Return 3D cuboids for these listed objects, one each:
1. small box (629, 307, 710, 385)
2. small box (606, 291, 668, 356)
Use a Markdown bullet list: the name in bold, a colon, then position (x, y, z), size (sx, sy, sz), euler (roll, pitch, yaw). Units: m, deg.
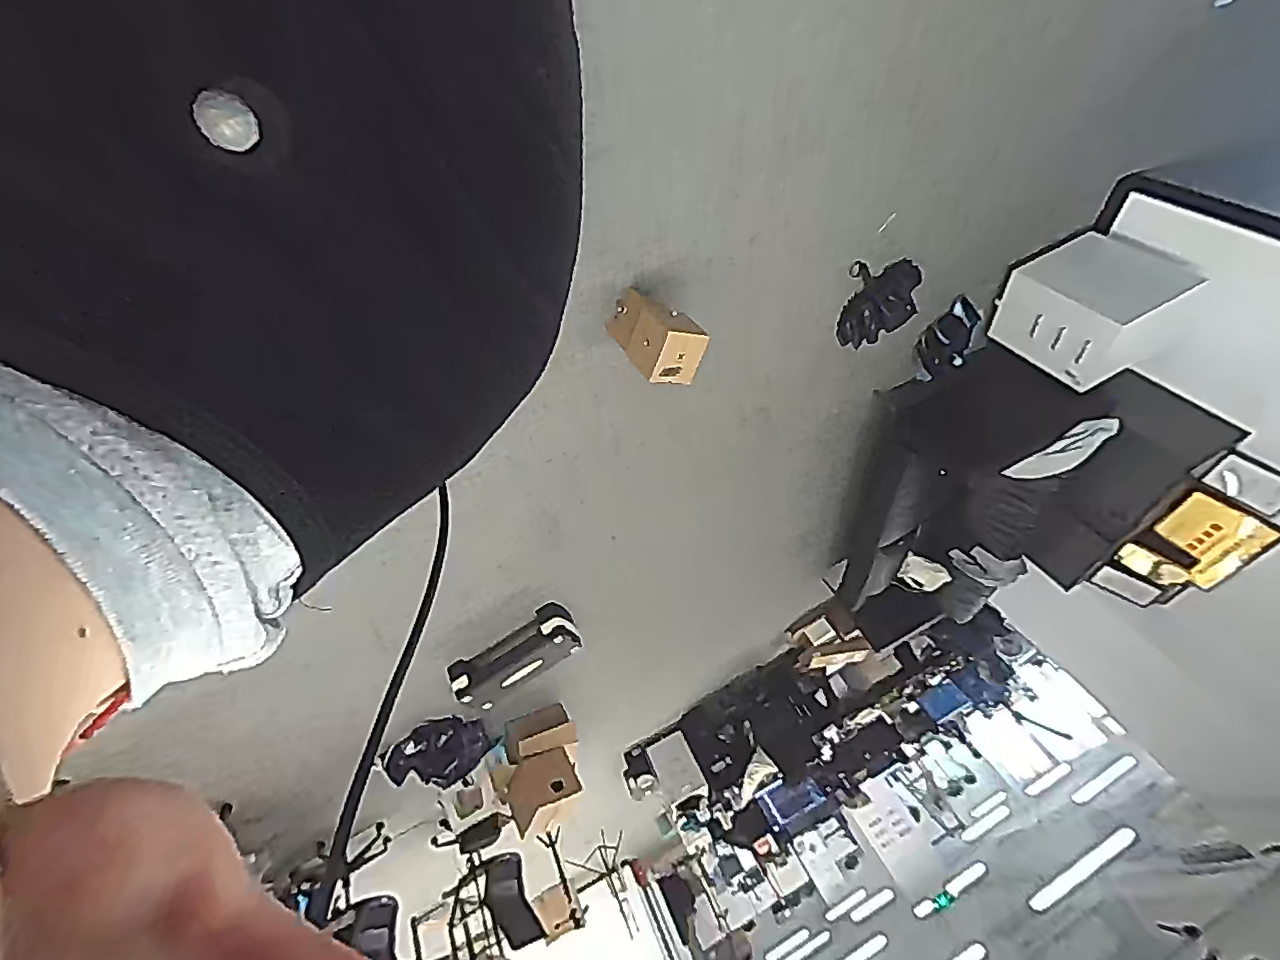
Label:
- **small box**: position (0.085, -0.422, 1.708), size (0.168, 0.176, 0.179), euler (-4, 132, -34)
- **small box**: position (0.018, -0.514, 1.830), size (0.179, 0.176, 0.168), euler (9, 124, -41)
